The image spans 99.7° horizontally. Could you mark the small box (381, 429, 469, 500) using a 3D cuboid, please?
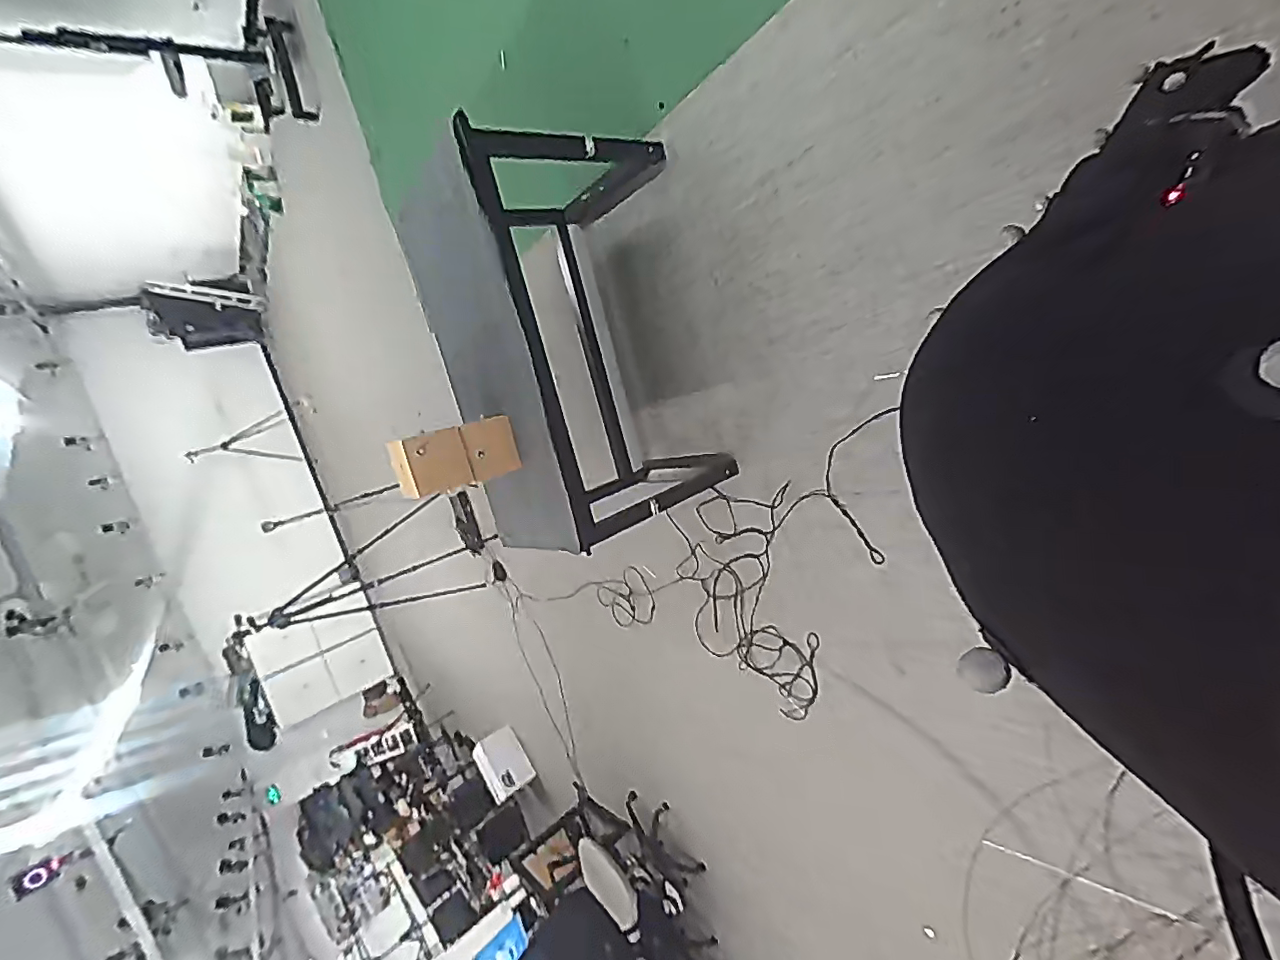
[{"bbox_3d":[-0.631,-0.050,1.593,0.168,0.176,0.179,-2,106,51],"label":"small box"}]

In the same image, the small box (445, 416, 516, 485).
[{"bbox_3d":[-0.513,-0.094,1.699,0.168,0.176,0.179,0,107,50],"label":"small box"}]
